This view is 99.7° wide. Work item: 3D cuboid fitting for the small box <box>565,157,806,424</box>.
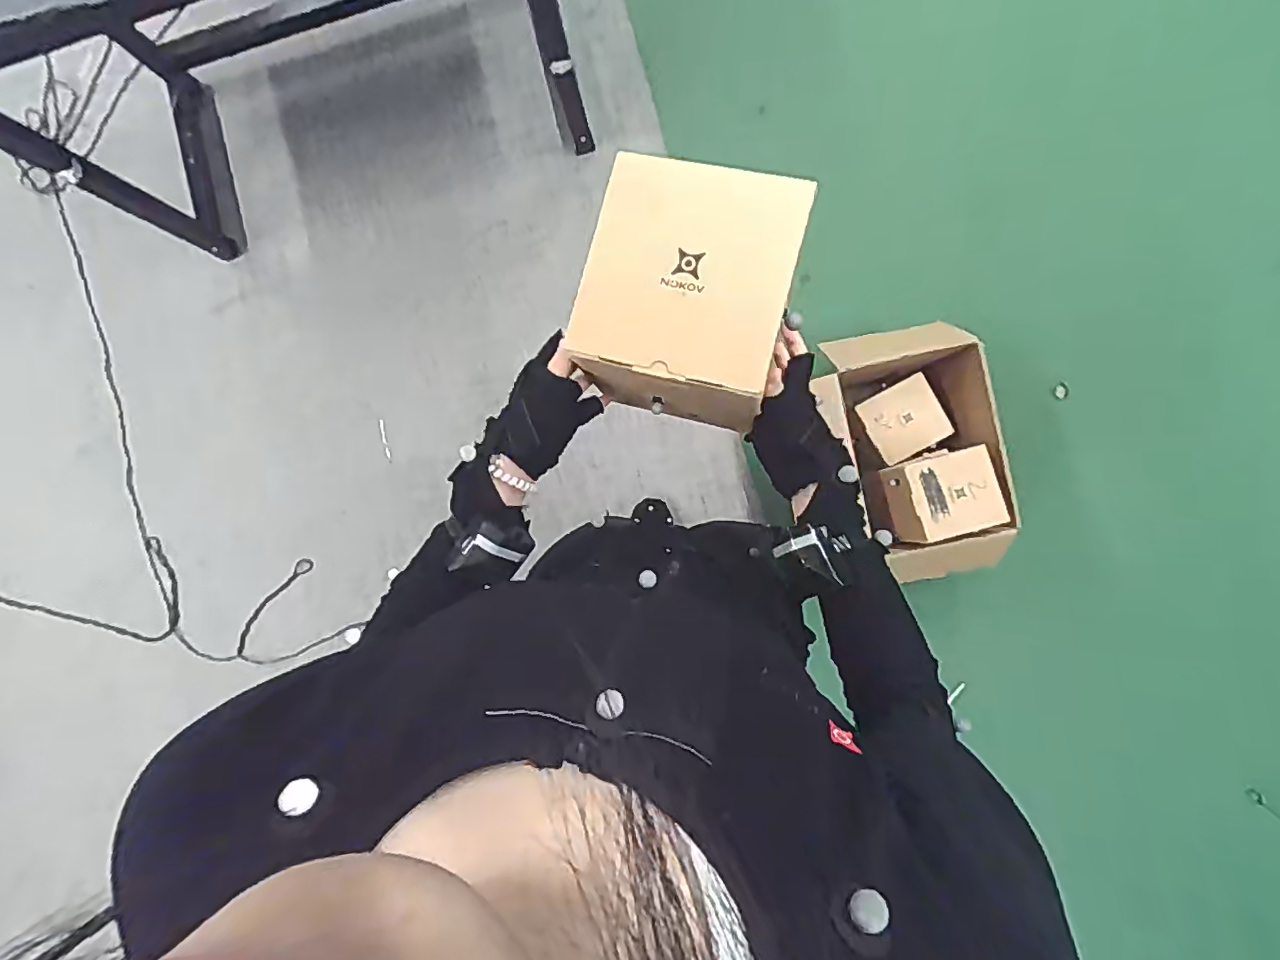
[{"bbox_3d":[0.046,-0.167,0.523,0.168,0.176,0.179,15,89,10],"label":"small box"}]
